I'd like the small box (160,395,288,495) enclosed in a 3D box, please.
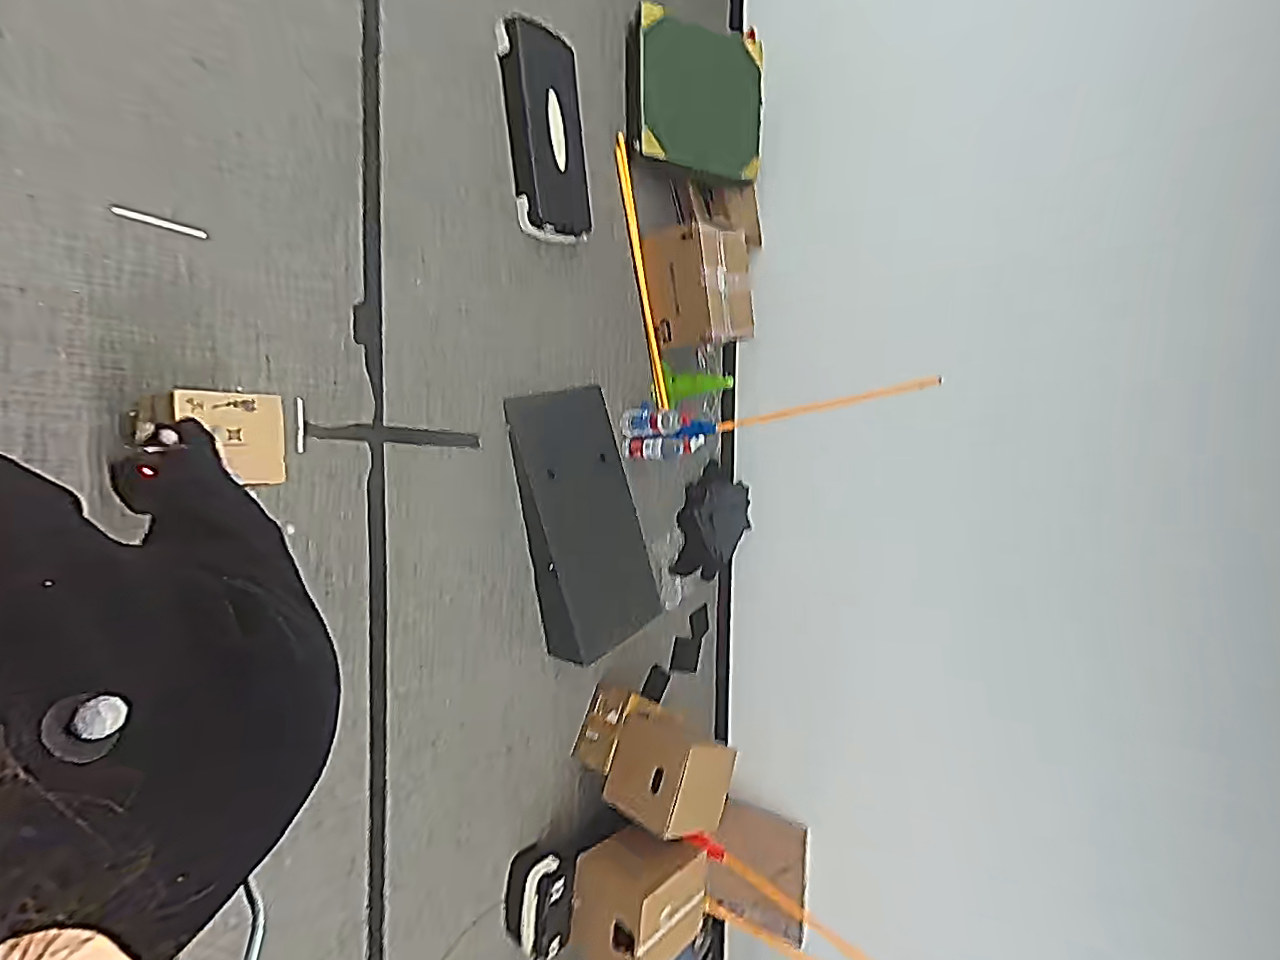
[{"bbox_3d":[-0.804,-0.068,1.046,0.168,0.176,0.179,-4,96,-51],"label":"small box"}]

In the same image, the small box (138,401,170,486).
[{"bbox_3d":[-0.934,-0.068,1.148,0.179,0.176,0.168,3,89,-52],"label":"small box"}]
